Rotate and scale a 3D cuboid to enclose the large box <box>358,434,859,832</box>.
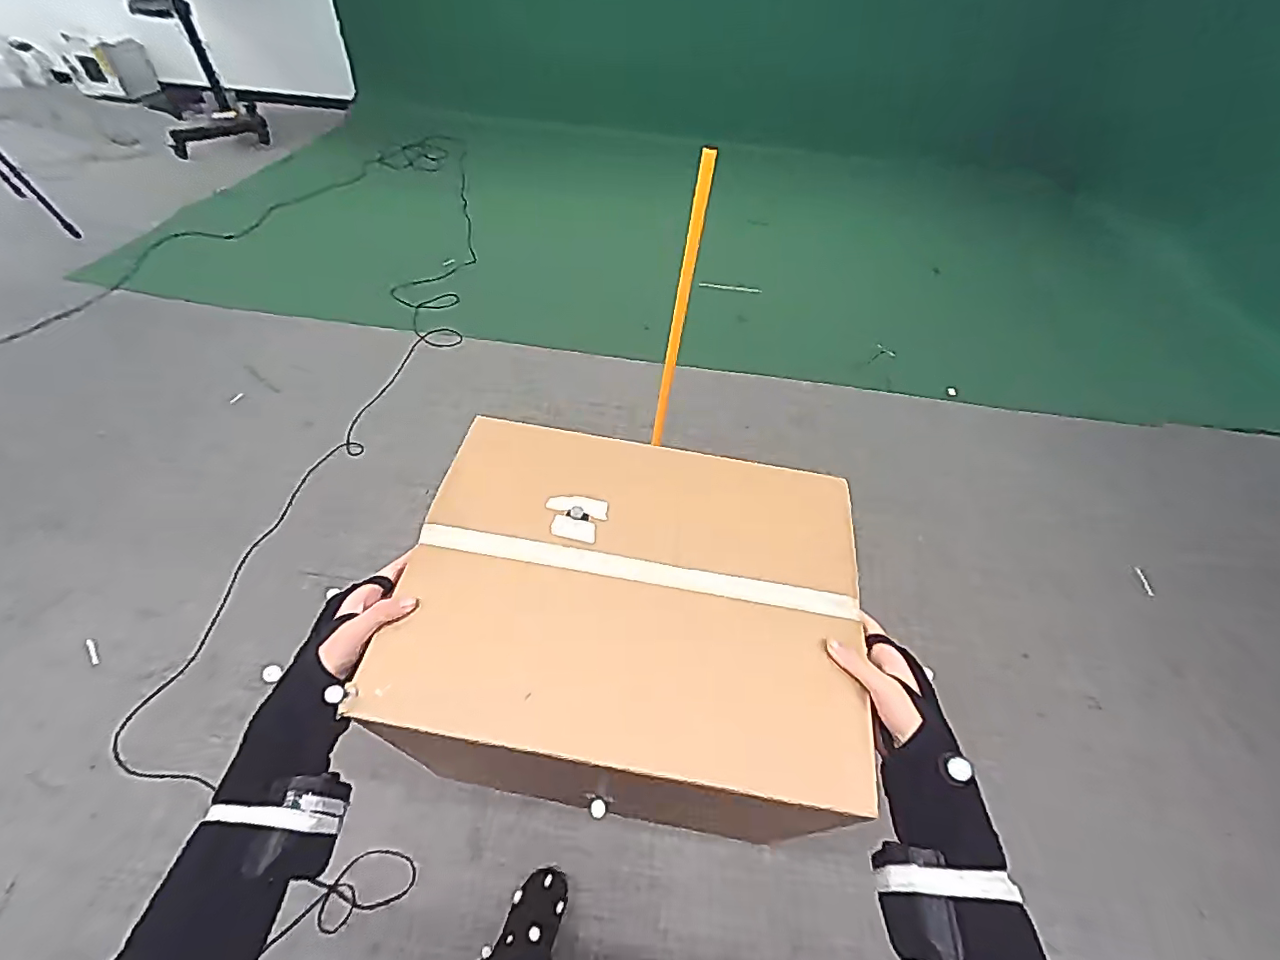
[{"bbox_3d":[-0.012,0.187,0.624,0.408,0.320,0.320,10,53,3],"label":"large box"}]
